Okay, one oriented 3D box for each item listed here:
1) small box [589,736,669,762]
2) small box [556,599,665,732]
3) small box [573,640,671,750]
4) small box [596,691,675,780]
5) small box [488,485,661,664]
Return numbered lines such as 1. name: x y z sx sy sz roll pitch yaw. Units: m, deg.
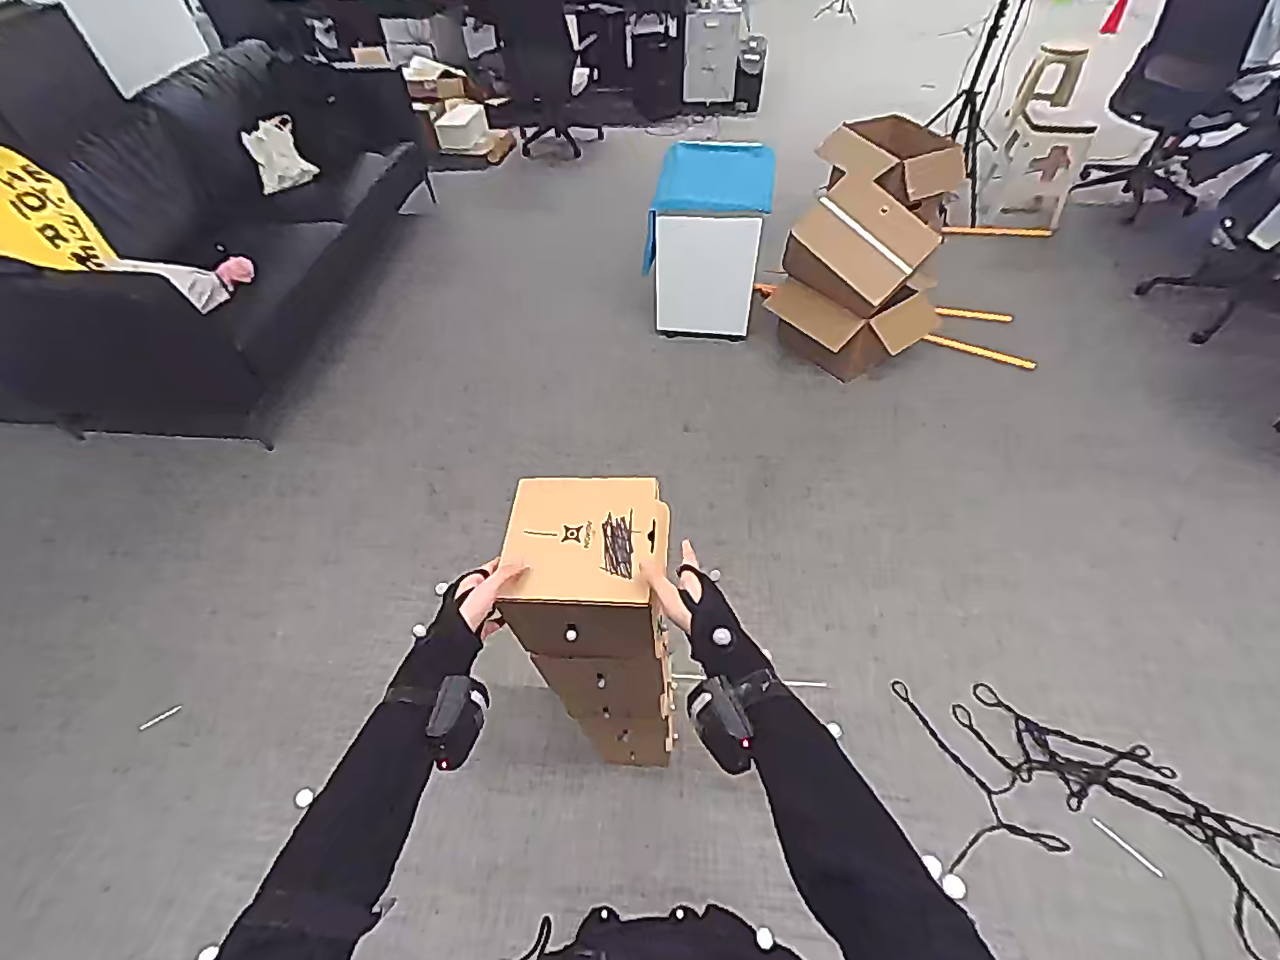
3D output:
1. small box: -0.023 0.517 1.202 0.179 0.176 0.168 1 51 5
2. small box: -0.042 0.322 0.942 0.168 0.176 0.179 -1 51 4
3. small box: -0.028 0.424 1.068 0.179 0.176 0.168 0 50 3
4. small box: -0.005 0.624 1.326 0.179 0.176 0.168 2 50 4
5. small box: -0.066 0.122 0.682 0.179 0.176 0.168 0 51 6
